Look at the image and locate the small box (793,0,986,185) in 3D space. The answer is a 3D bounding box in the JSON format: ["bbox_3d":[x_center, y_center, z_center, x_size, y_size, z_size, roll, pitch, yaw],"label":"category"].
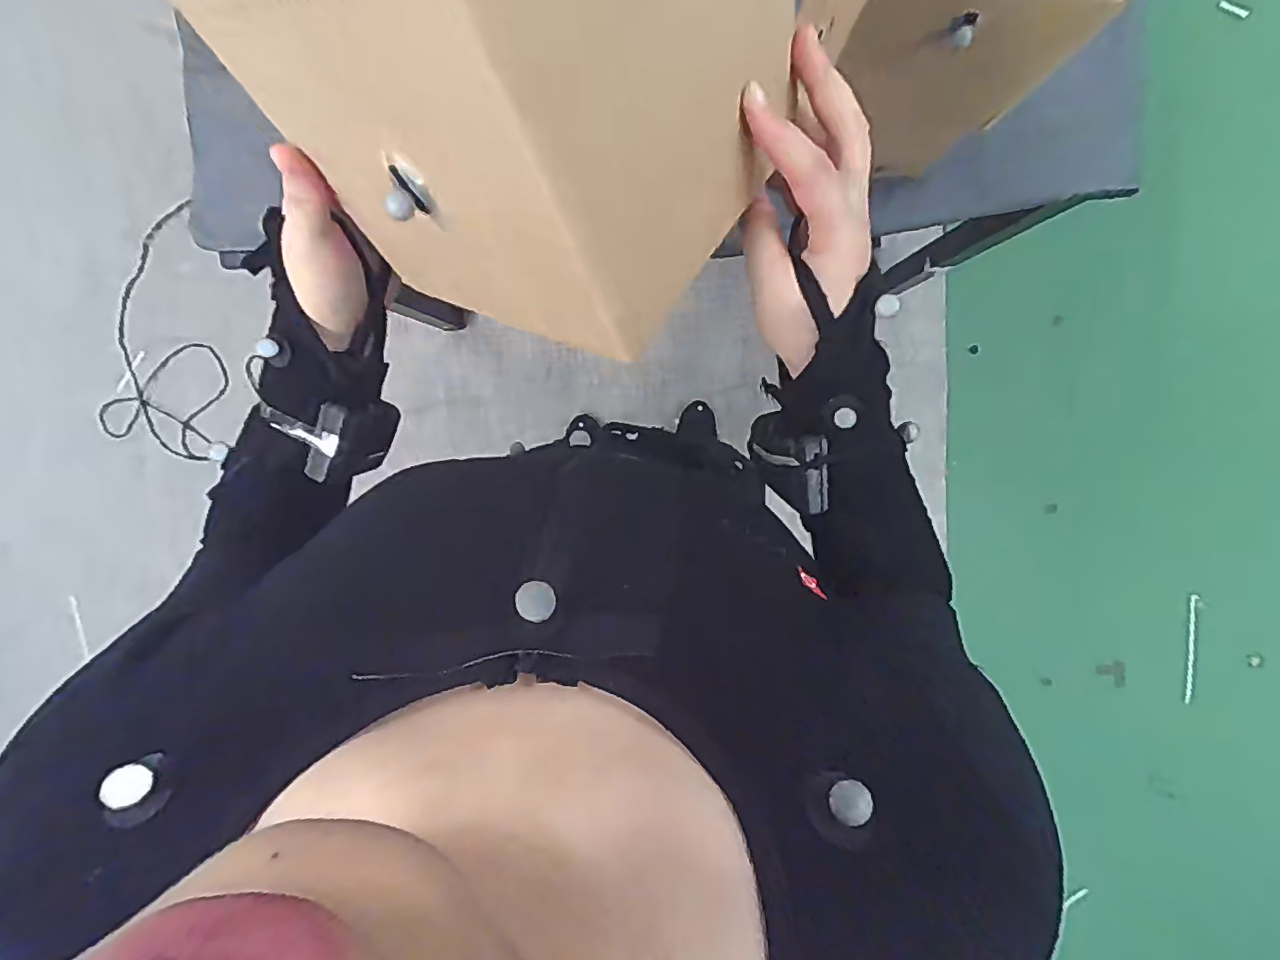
[{"bbox_3d":[0.270,-0.458,0.602,0.168,0.176,0.179,-2,97,3],"label":"small box"}]

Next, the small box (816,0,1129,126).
[{"bbox_3d":[0.265,-0.424,0.443,0.179,0.176,0.168,8,96,2],"label":"small box"}]
